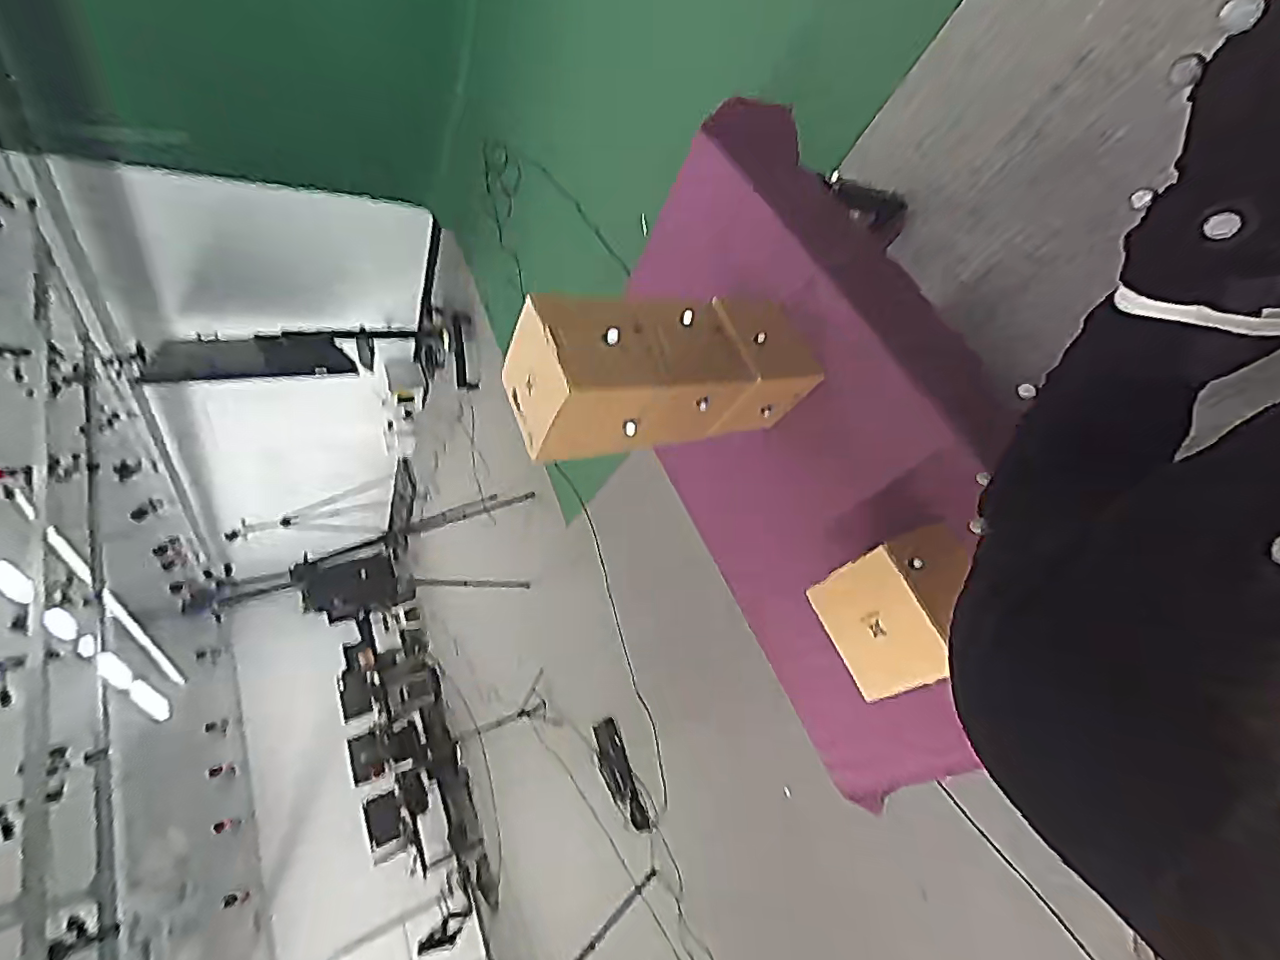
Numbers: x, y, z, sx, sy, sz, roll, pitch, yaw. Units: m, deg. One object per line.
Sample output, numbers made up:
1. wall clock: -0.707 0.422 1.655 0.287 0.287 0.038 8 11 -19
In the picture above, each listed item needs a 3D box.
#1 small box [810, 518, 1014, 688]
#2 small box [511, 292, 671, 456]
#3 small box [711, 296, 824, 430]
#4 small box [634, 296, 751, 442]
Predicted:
1. small box: 0.399 0.177 0.799 0.179 0.176 0.168 65 144 23
2. small box: -0.073 -0.158 0.816 0.179 0.176 0.168 -49 57 49
3. small box: 0.200 -0.214 0.988 0.168 0.176 0.179 -47 60 50
4. small box: 0.062 -0.185 0.906 0.179 0.176 0.168 -49 58 51
